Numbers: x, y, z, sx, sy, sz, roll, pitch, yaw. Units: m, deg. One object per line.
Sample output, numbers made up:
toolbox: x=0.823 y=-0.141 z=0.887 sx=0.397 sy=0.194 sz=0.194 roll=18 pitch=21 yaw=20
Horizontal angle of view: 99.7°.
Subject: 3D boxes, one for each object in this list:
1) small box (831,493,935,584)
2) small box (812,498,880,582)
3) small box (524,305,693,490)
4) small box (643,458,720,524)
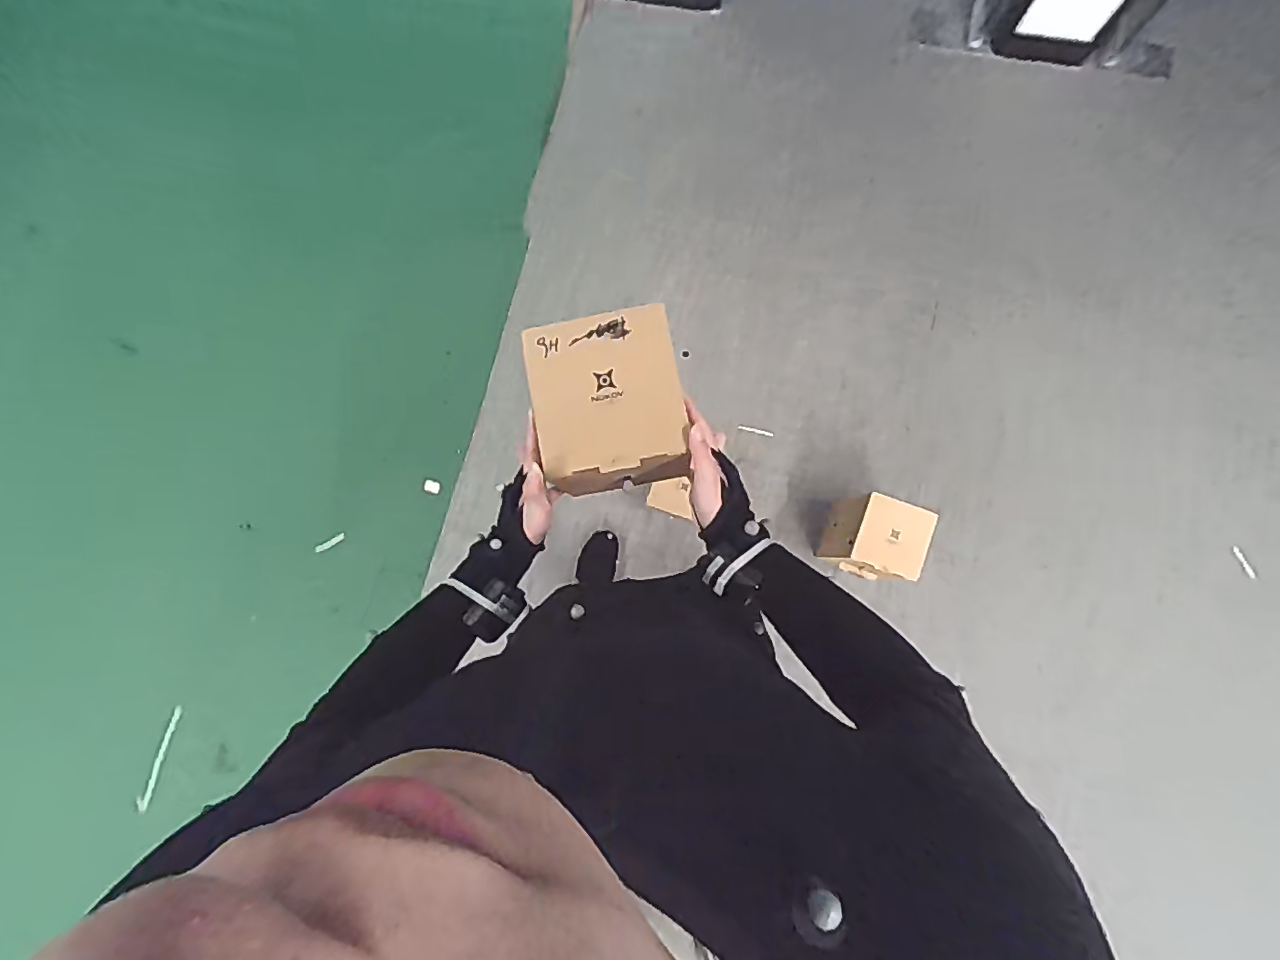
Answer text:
small box: x=0.605 y=0.148 z=1.371 sx=0.168 sy=0.176 sz=0.179 roll=21 pitch=85 yaw=5
small box: x=0.608 y=0.169 z=1.530 sx=0.168 sy=0.176 sz=0.179 roll=26 pitch=86 yaw=9
small box: x=-0.031 y=-0.086 z=0.668 sx=0.168 sy=0.176 sz=0.179 roll=-10 pitch=82 yaw=1
small box: x=0.120 y=0.026 z=1.584 sx=0.179 sy=0.176 sz=0.168 roll=20 pitch=85 yaw=6
